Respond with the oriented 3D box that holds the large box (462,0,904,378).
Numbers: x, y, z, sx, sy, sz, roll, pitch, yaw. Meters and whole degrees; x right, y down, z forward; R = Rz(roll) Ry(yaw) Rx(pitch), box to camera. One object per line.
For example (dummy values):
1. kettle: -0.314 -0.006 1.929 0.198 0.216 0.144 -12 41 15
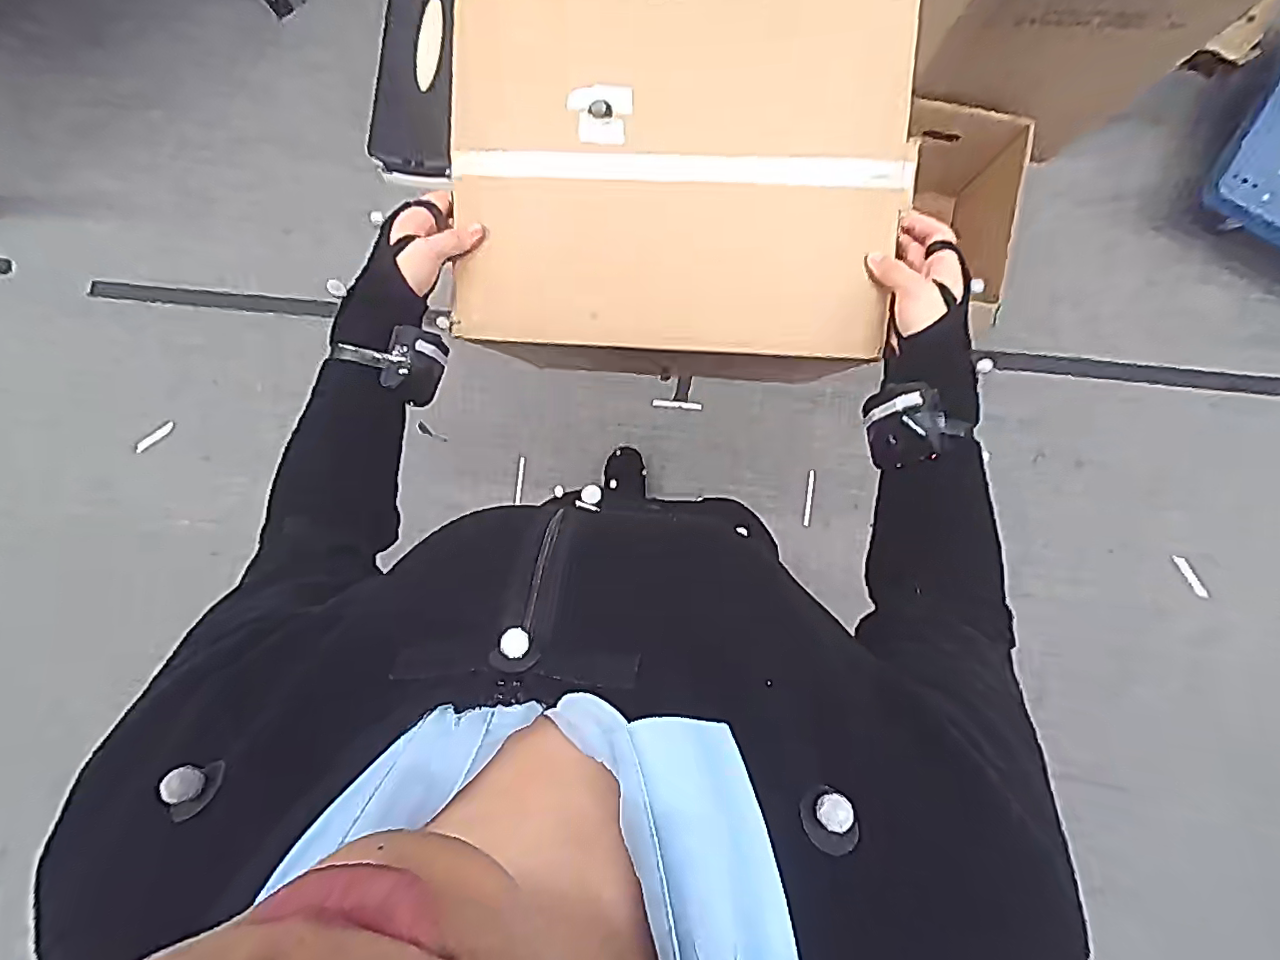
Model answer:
1. large box: 0.043 -0.293 0.649 0.408 0.320 0.320 4 95 5
